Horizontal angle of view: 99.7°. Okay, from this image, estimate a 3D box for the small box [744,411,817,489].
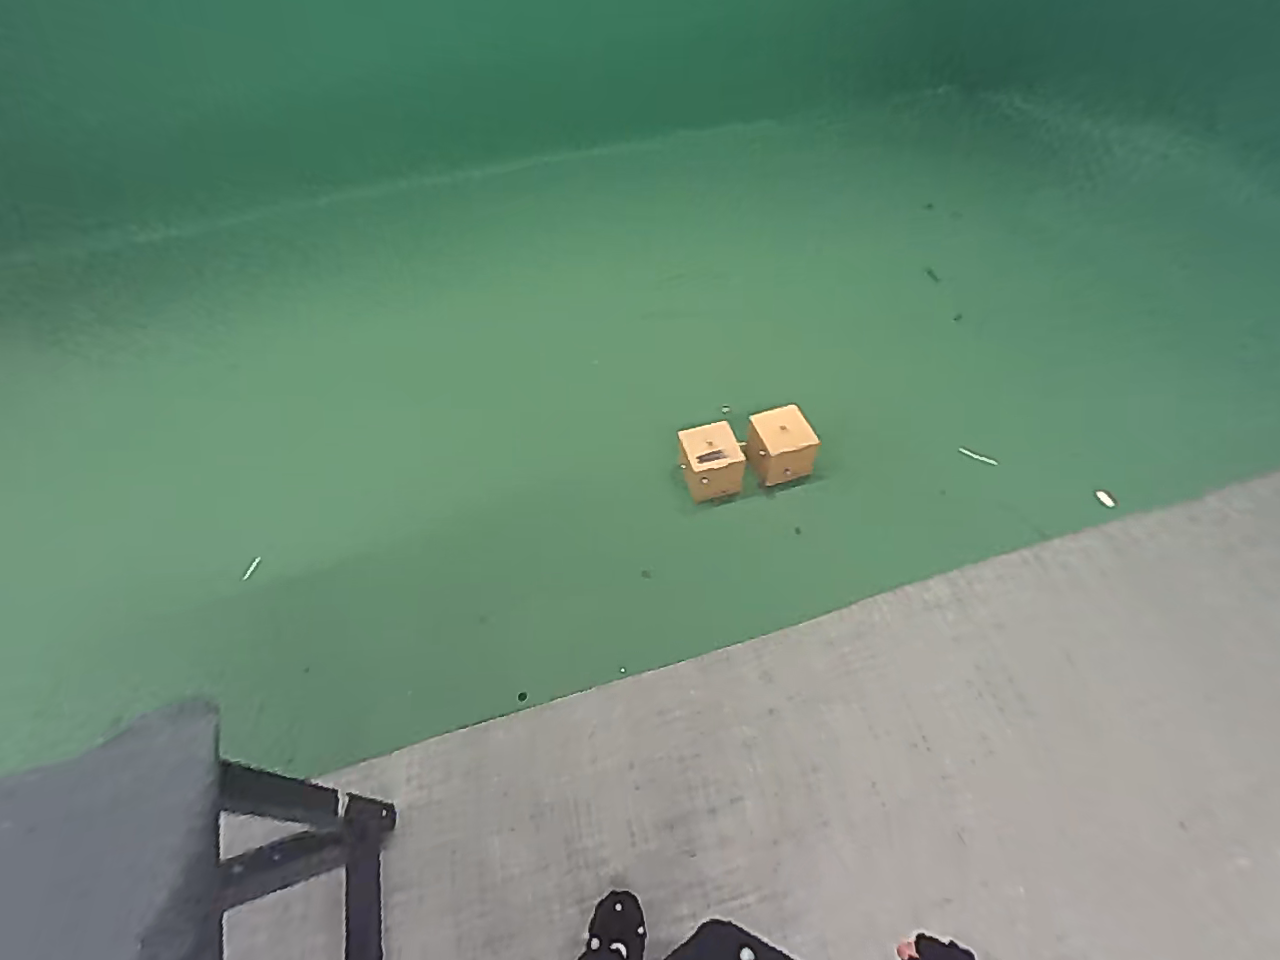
[{"bbox_3d":[0.457,-0.098,1.794,0.168,0.176,0.179,-15,55,-8],"label":"small box"}]
